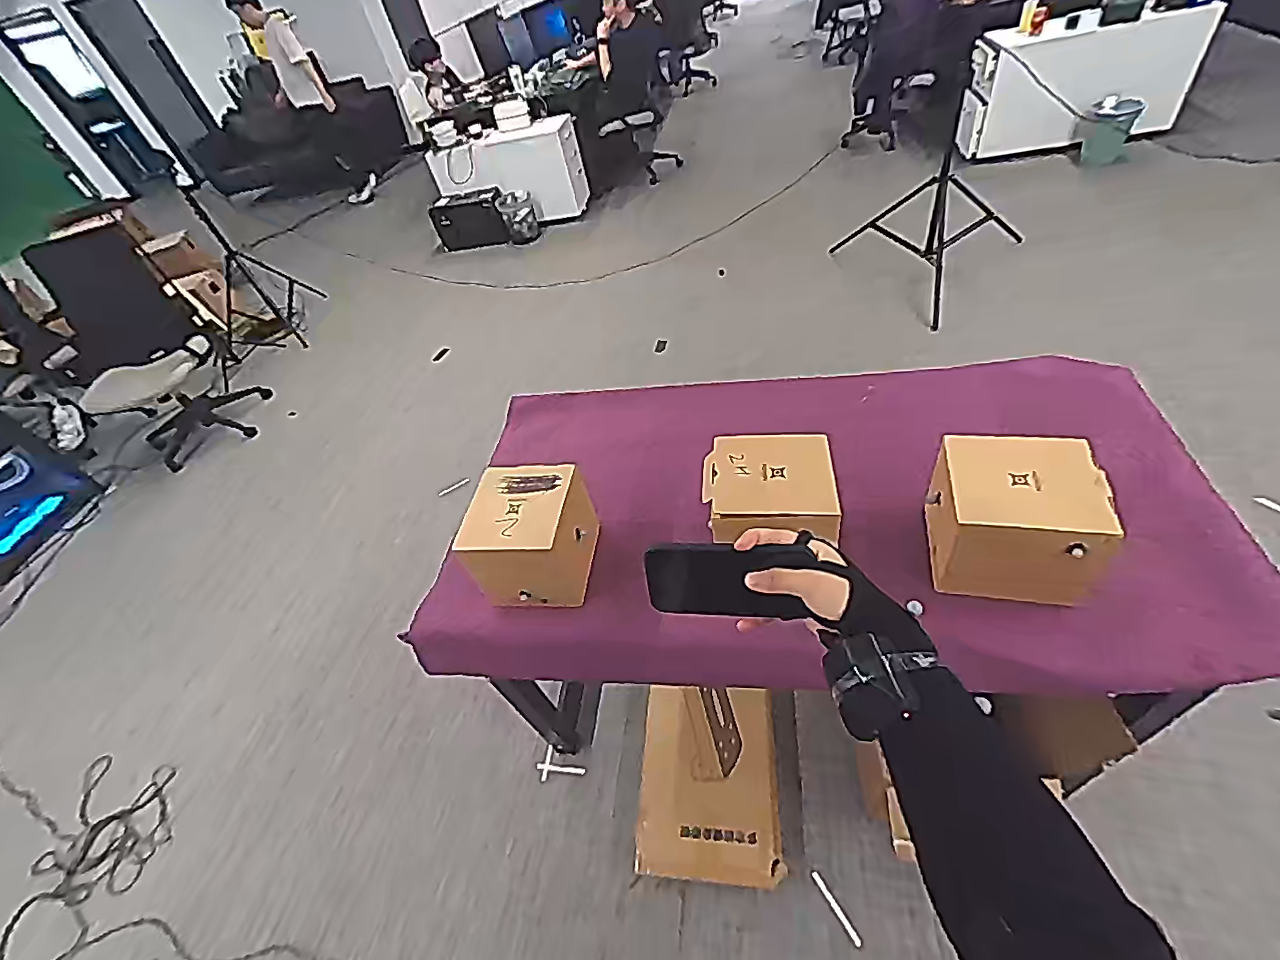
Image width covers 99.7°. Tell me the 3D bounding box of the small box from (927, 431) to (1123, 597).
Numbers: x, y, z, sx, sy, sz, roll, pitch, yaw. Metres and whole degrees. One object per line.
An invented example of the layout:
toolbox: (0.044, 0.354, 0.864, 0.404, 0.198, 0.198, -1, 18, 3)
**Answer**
small box: (0.516, 0.049, 0.761, 0.179, 0.176, 0.168, 3, 48, 17)

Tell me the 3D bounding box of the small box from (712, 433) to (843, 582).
small box: (0.209, 0.046, 0.845, 0.179, 0.176, 0.168, -3, 44, 12)
